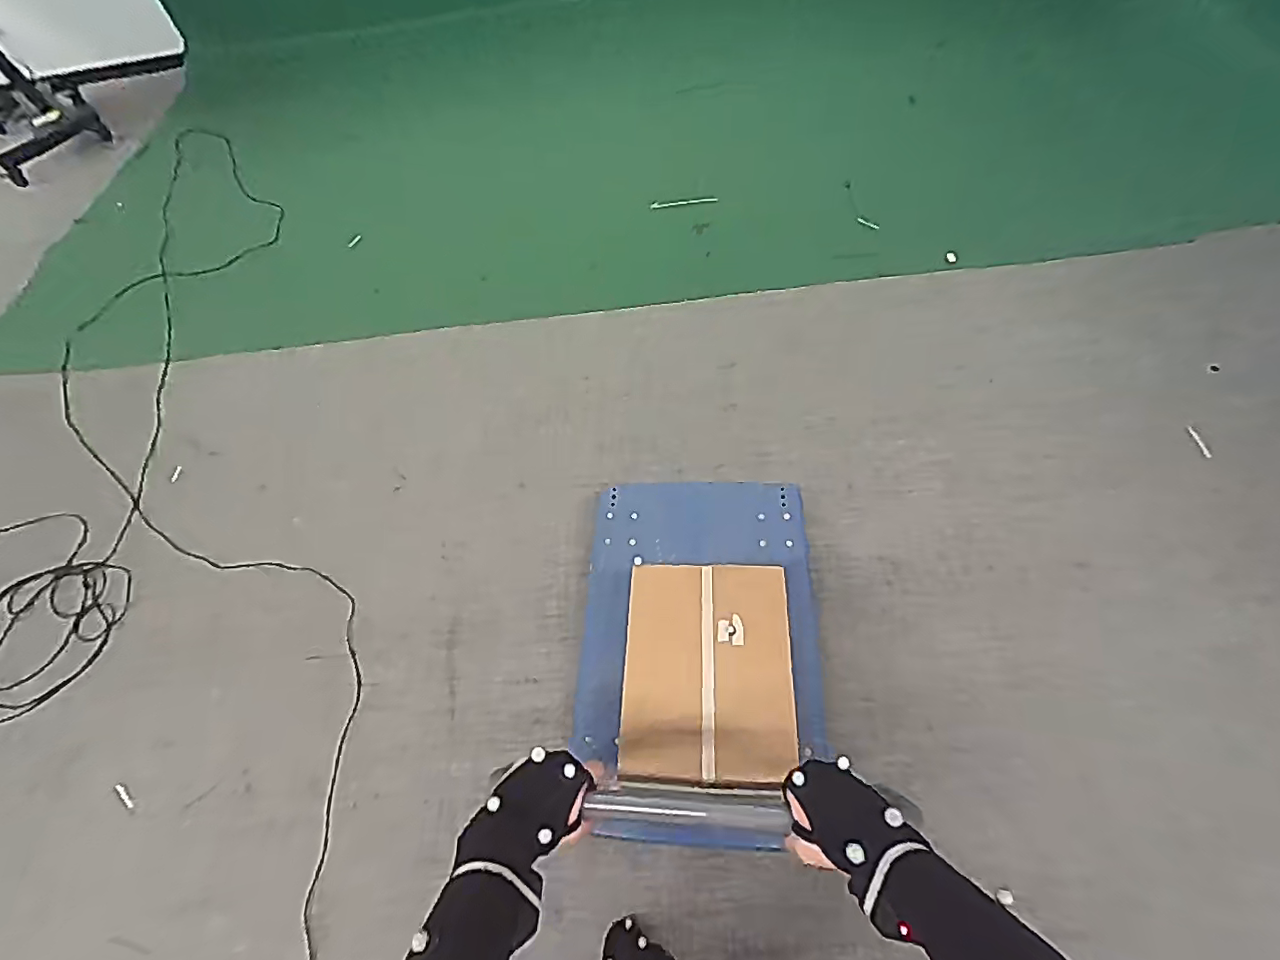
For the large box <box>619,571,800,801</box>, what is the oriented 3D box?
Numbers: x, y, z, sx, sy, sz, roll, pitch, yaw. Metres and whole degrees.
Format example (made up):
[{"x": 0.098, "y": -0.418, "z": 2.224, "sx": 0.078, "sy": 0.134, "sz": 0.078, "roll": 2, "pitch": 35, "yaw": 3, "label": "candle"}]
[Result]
[{"x": 0.141, "y": 0.439, "z": 1.144, "sx": 0.320, "sy": 0.320, "sz": 0.408, "roll": 0, "pitch": 58, "yaw": 6, "label": "large box"}]
